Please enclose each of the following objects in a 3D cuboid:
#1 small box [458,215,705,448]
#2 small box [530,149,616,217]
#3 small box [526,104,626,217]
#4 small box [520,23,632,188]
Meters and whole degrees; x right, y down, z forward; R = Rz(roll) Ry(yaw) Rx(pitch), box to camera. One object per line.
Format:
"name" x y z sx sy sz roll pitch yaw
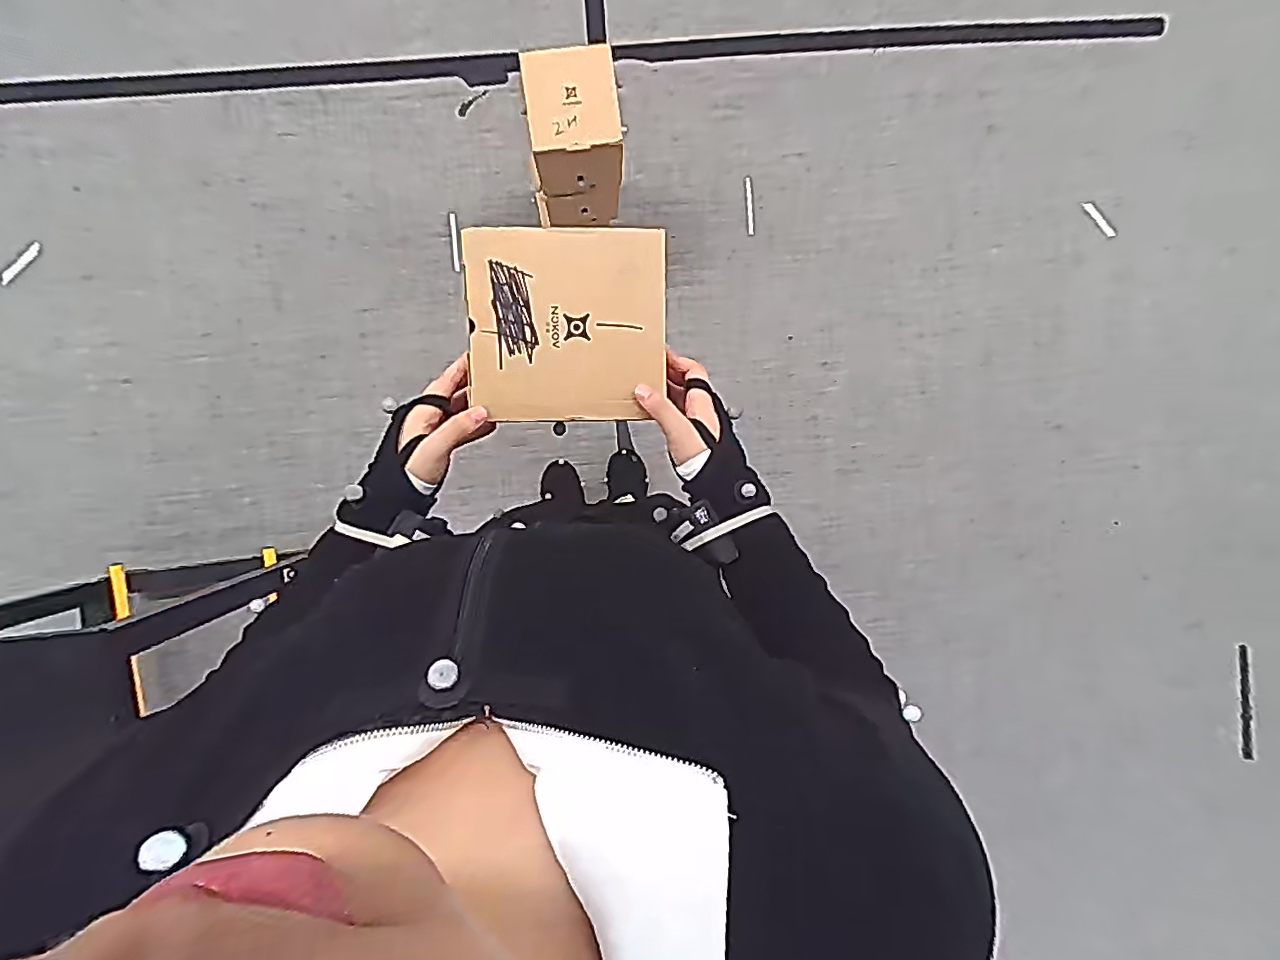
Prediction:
"small box" -0.045 -0.112 0.467 0.179 0.176 0.168 -2 97 -4
"small box" -0.156 -0.666 1.285 0.168 0.176 0.179 -12 96 -2
"small box" -0.127 -0.657 1.123 0.168 0.176 0.179 -13 95 -3
"small box" -0.108 -0.652 0.958 0.168 0.176 0.179 -8 94 -2
